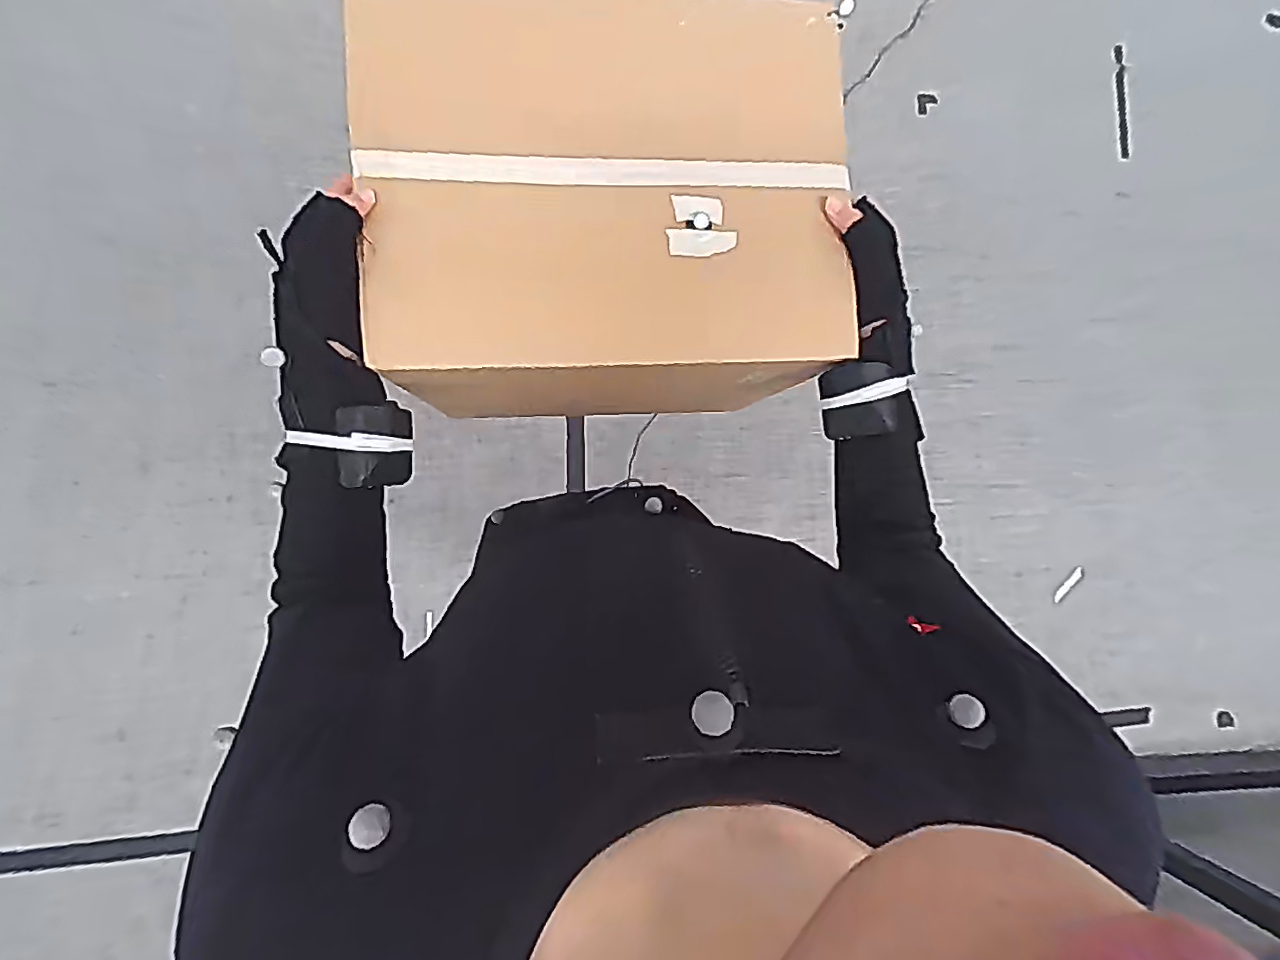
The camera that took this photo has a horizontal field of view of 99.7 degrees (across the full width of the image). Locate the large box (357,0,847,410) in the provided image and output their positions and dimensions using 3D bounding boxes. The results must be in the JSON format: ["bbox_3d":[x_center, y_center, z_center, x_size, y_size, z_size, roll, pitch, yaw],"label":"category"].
[{"bbox_3d":[-0.043,-0.259,0.599,0.408,0.320,0.320,-3,91,-9],"label":"large box"}]
